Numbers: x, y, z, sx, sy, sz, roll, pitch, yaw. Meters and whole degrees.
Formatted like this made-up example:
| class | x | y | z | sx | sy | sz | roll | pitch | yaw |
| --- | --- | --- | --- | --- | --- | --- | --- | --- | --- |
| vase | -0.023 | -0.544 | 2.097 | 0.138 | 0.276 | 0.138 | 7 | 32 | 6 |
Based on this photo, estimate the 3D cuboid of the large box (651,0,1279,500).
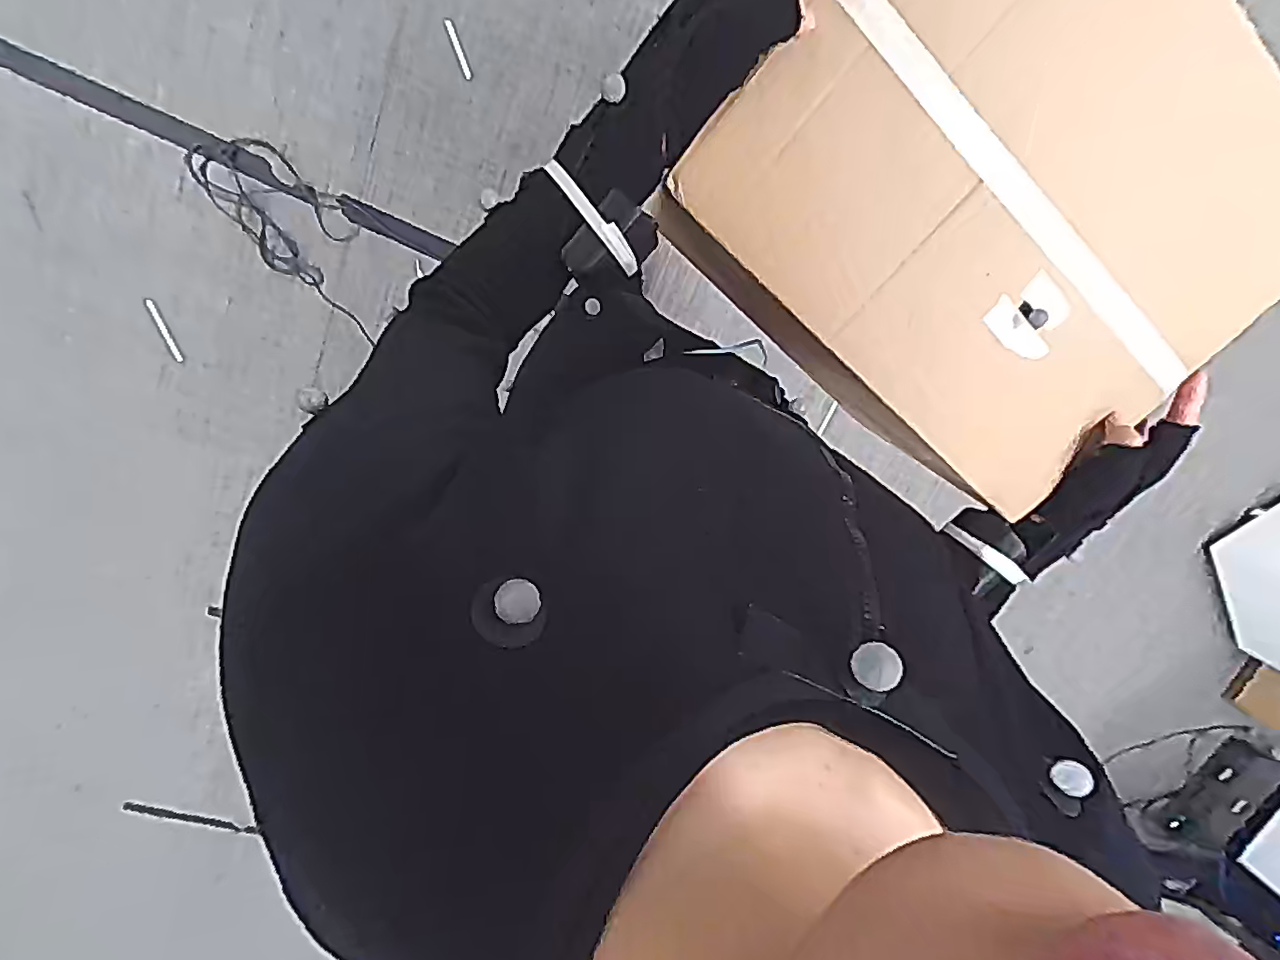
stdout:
| class | x | y | z | sx | sy | sz | roll | pitch | yaw |
| --- | --- | --- | --- | --- | --- | --- | --- | --- | --- |
| large box | 0.261 | -0.258 | 0.531 | 0.408 | 0.320 | 0.320 | 38 | 107 | -15 |
